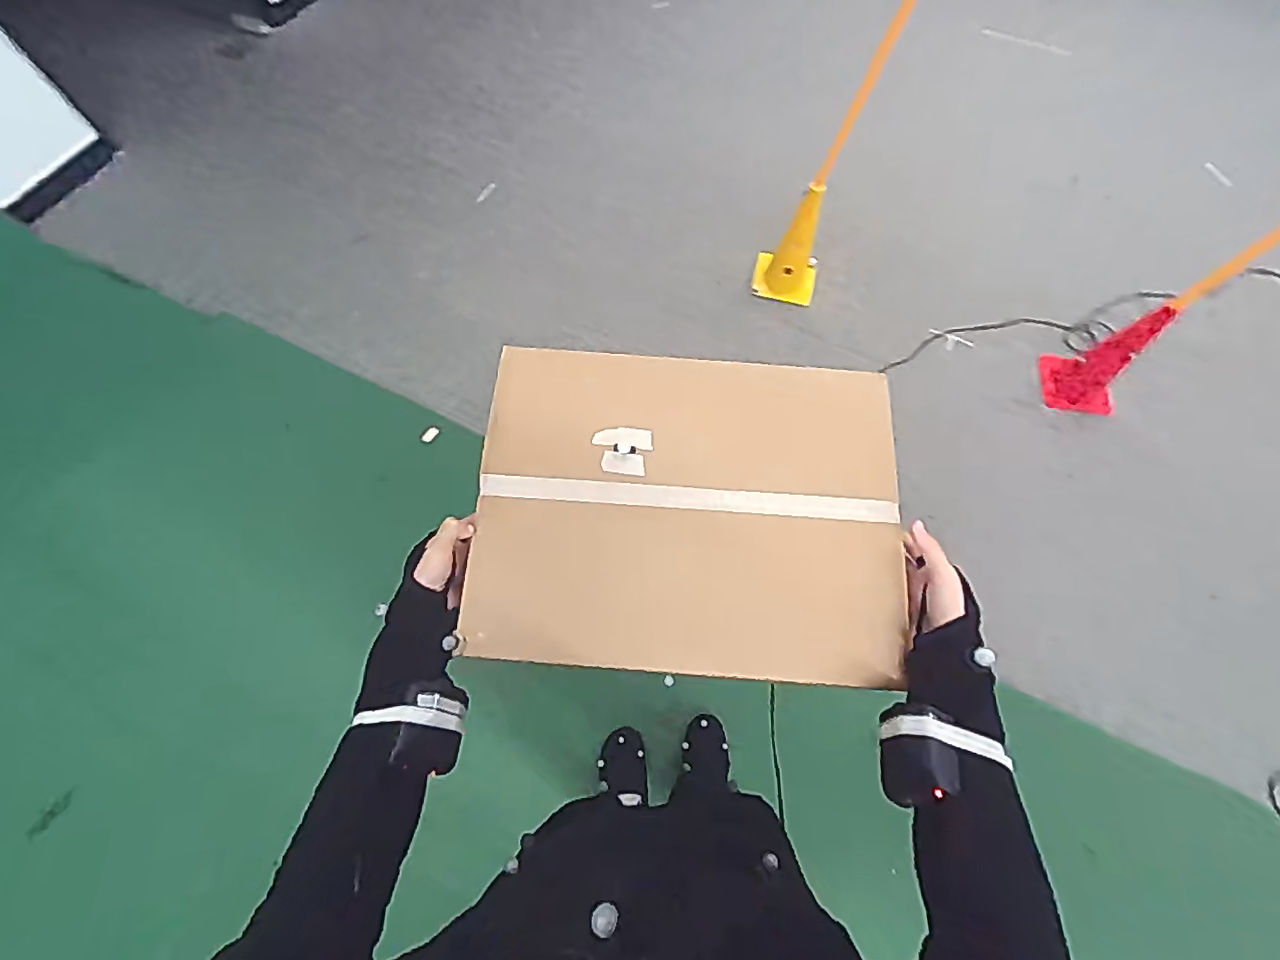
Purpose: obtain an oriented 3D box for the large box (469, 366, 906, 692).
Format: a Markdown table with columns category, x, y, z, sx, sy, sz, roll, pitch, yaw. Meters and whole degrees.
| category | x | y | z | sx | sy | sz | roll | pitch | yaw |
| --- | --- | --- | --- | --- | --- | --- | --- | --- | --- |
| large box | 0.053 | 0.077 | 0.674 | 0.408 | 0.320 | 0.320 | 4 | 71 | 2 |
